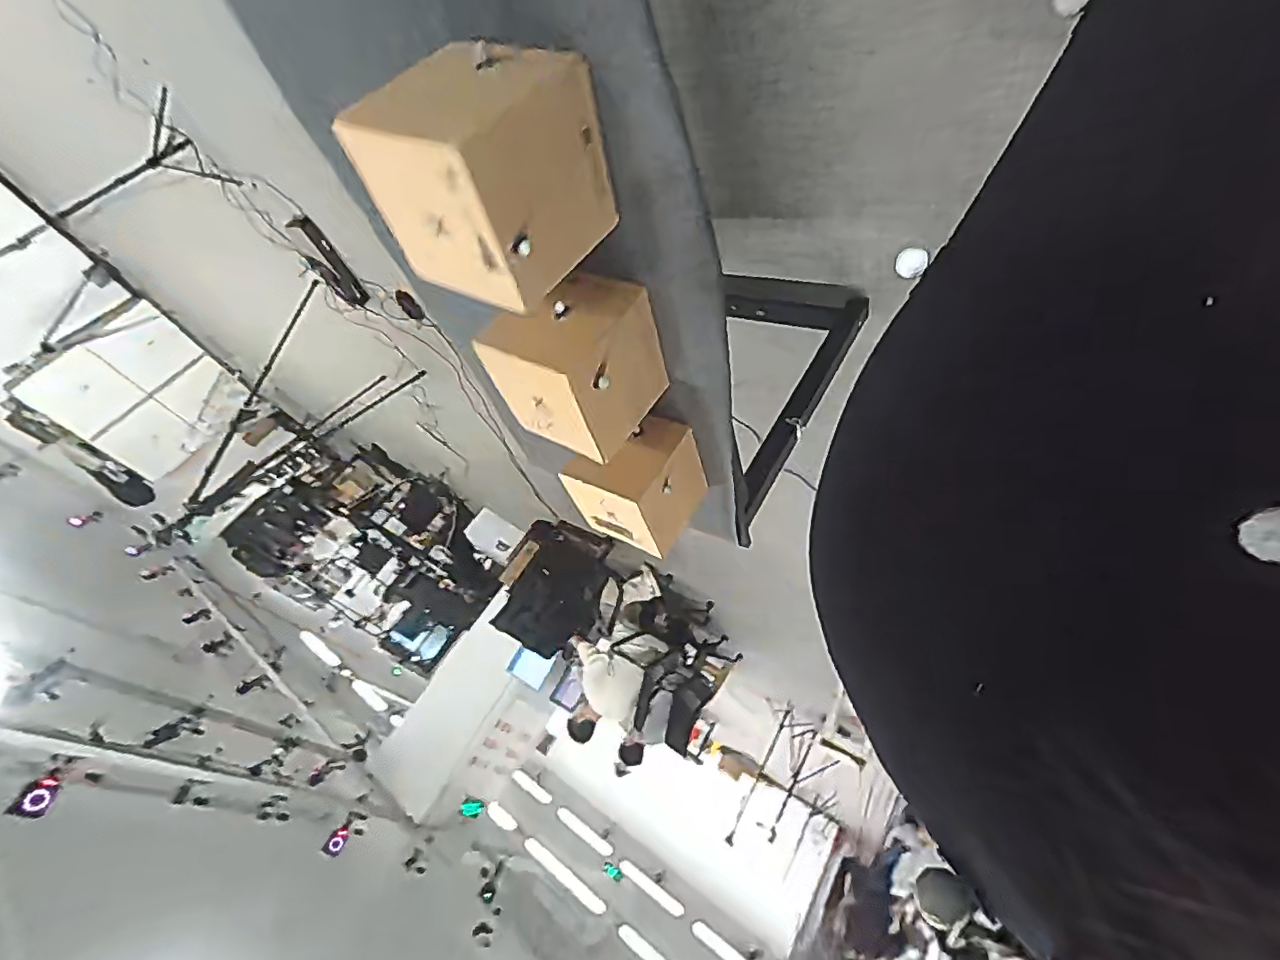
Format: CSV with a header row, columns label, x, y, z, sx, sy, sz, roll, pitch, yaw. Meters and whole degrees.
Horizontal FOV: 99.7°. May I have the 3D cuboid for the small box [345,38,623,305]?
label,x,y,z,sx,sy,sz,roll,pitch,yaw
small box,-0.143,-0.317,0.552,0.179,0.176,0.168,27,156,25

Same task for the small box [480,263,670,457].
label,x,y,z,sx,sy,sz,roll,pitch,yaw
small box,-0.078,-0.168,0.745,0.168,0.176,0.179,25,155,28
